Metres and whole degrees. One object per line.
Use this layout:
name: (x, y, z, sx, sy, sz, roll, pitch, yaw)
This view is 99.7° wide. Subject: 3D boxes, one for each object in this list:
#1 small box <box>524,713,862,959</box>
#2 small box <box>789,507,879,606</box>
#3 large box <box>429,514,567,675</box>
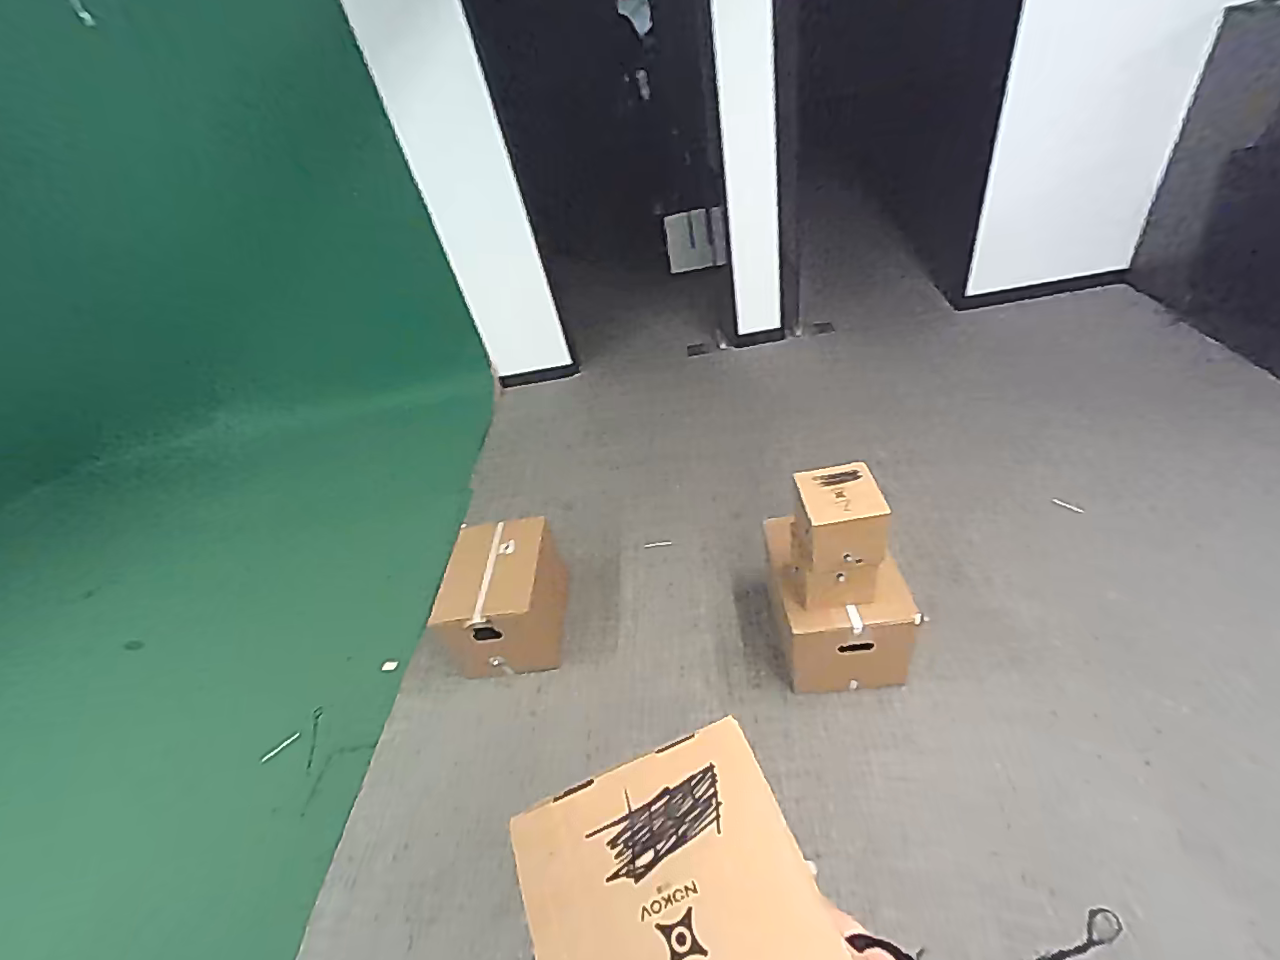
small box: (0.035, 0.298, 0.376, 0.168, 0.176, 0.179, -21, 53, -7)
small box: (0.486, 0.197, 1.375, 0.179, 0.176, 0.168, -11, 40, 7)
large box: (-0.446, 0.381, 1.813, 0.320, 0.320, 0.408, -9, 39, 7)
